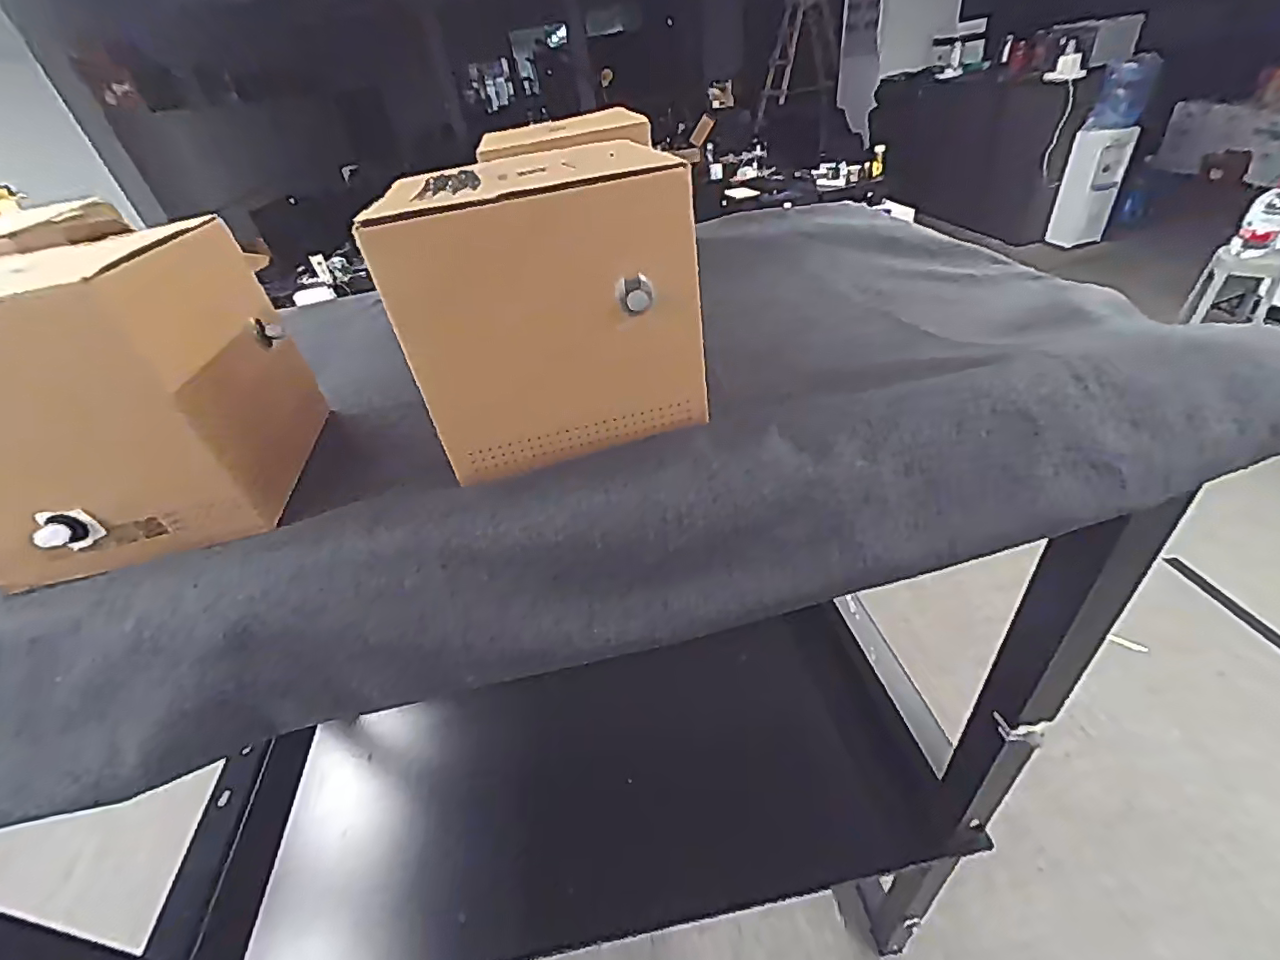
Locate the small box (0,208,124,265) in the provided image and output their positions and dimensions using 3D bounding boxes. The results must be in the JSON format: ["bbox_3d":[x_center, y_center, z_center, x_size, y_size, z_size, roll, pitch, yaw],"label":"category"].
[{"bbox_3d":[-0.638,-0.169,0.575,0.179,0.176,0.168,-13,38,-5],"label":"small box"}]

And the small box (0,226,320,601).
[{"bbox_3d":[-0.349,-0.052,0.362,0.168,0.176,0.179,-15,37,-6],"label":"small box"}]

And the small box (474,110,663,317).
[{"bbox_3d":[-0.076,-0.298,0.613,0.168,0.176,0.179,-13,38,-3],"label":"small box"}]
